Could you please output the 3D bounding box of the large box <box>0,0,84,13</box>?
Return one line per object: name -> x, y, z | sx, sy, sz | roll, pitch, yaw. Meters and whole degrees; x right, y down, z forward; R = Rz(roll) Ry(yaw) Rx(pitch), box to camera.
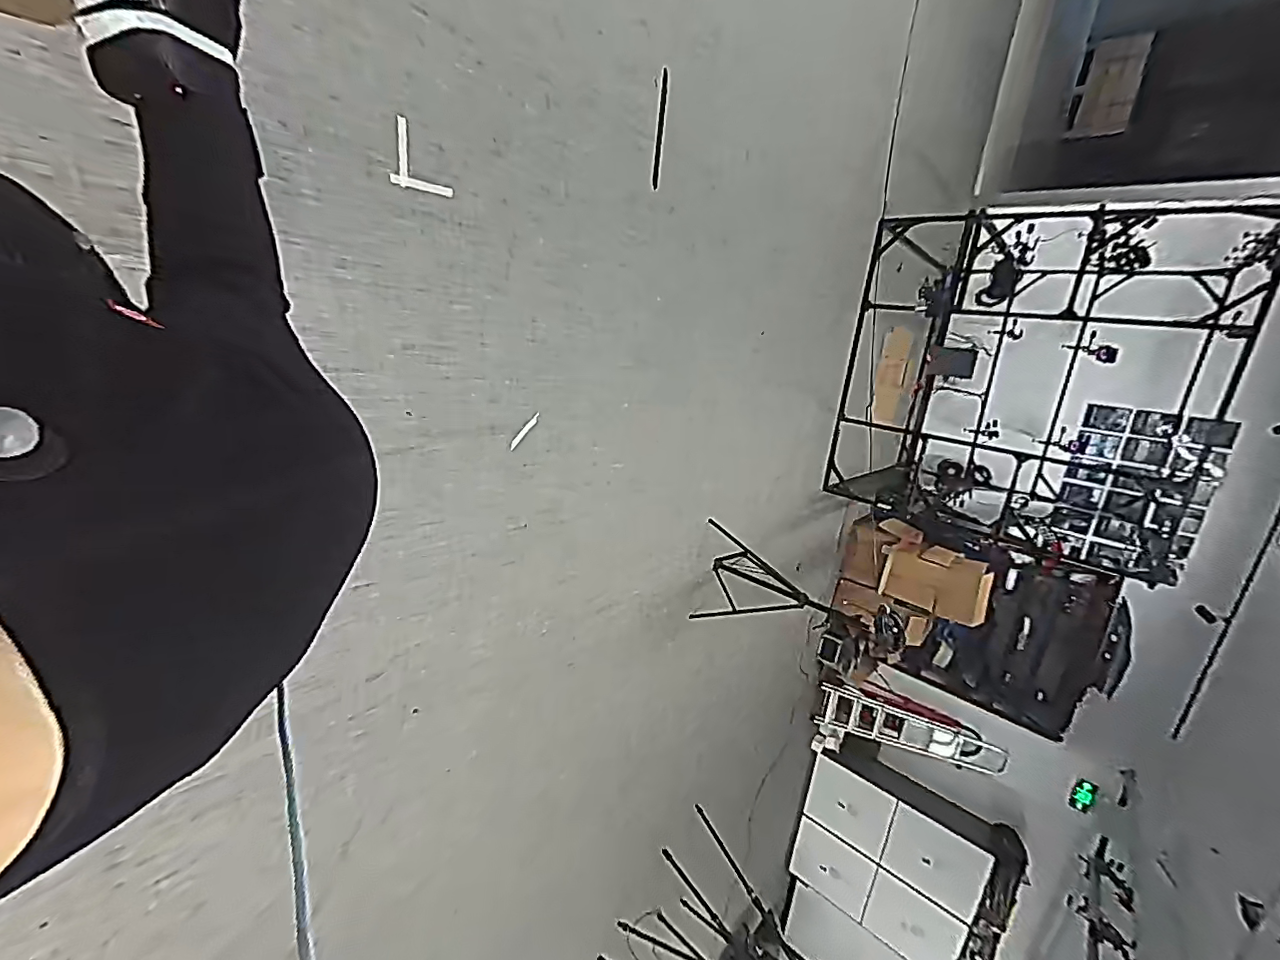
large box -> -0.569, -0.493, 0.250 | 0.408, 0.320, 0.320 | -20, 129, -49
